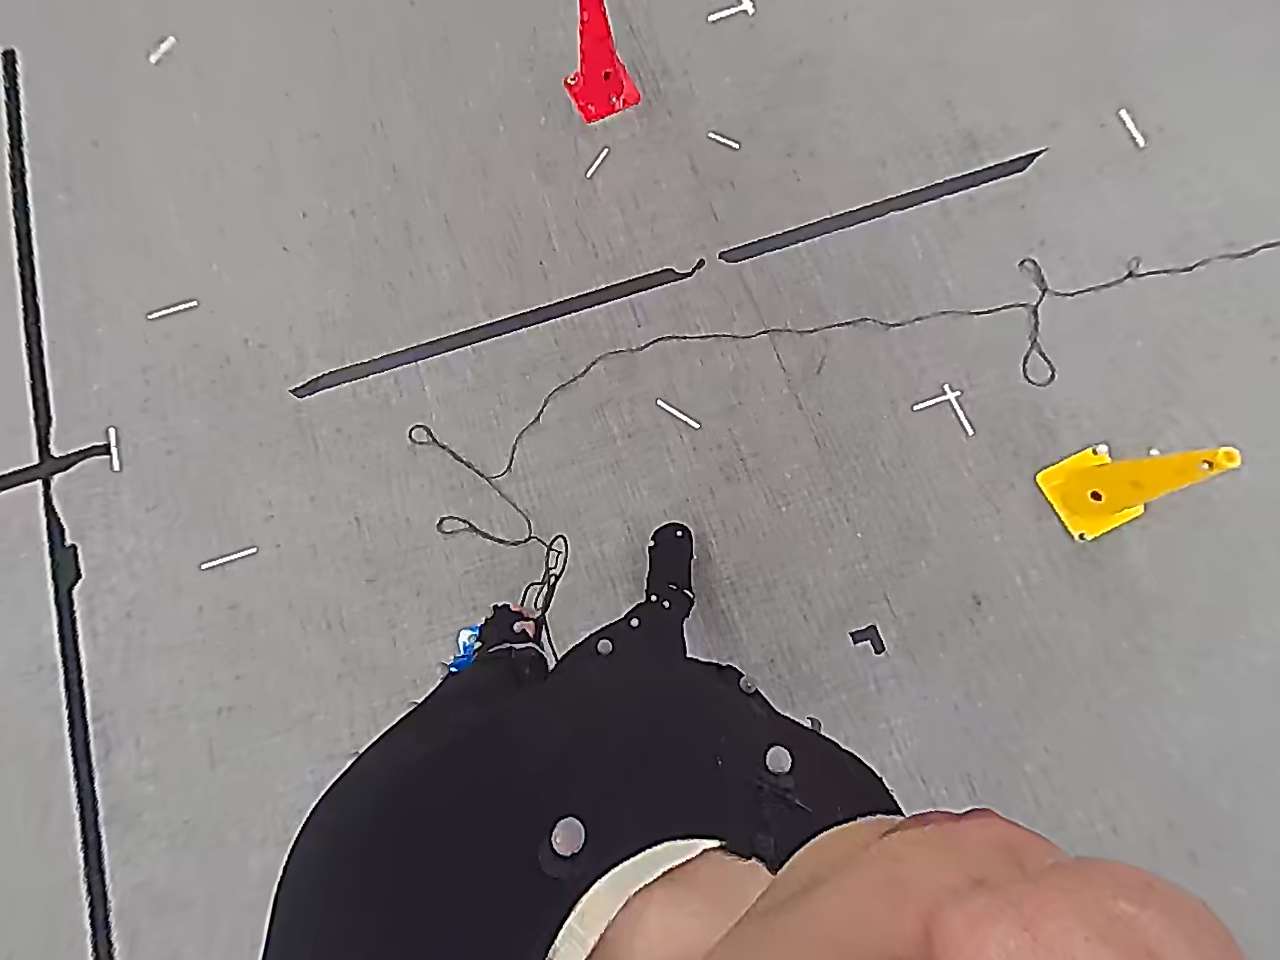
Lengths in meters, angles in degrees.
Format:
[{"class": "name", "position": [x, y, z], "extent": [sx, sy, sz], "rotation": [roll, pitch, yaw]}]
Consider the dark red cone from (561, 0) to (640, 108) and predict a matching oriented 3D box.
[{"class": "dark red cone", "position": [-0.128, -1.286, 1.519], "extent": [0.202, 0.394, 0.201], "rotation": [-26, 79, -3]}]

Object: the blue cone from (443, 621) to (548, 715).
[{"class": "blue cone", "position": [-0.343, 0.427, 1.175], "extent": [0.193, 0.380, 0.192], "rotation": [-18, 78, -2]}]
